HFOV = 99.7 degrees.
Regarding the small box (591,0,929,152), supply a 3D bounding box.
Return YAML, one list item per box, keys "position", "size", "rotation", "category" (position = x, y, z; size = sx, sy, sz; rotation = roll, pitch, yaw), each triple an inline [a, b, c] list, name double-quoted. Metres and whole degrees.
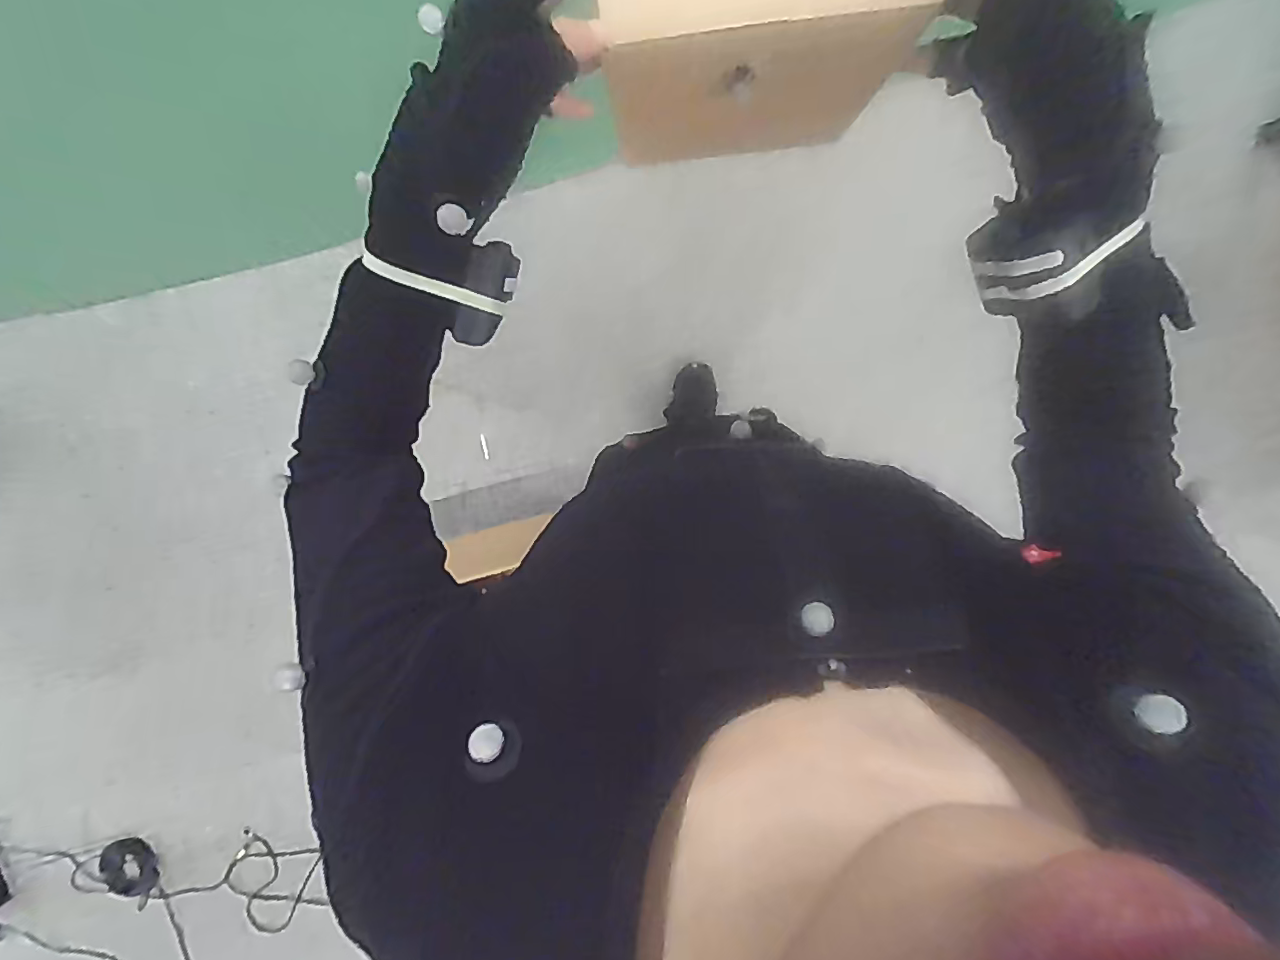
- position: [0.060, -0.328, 0.338]
  size: [0.179, 0.176, 0.168]
  rotation: [-4, 102, 2]
  category: "small box"
